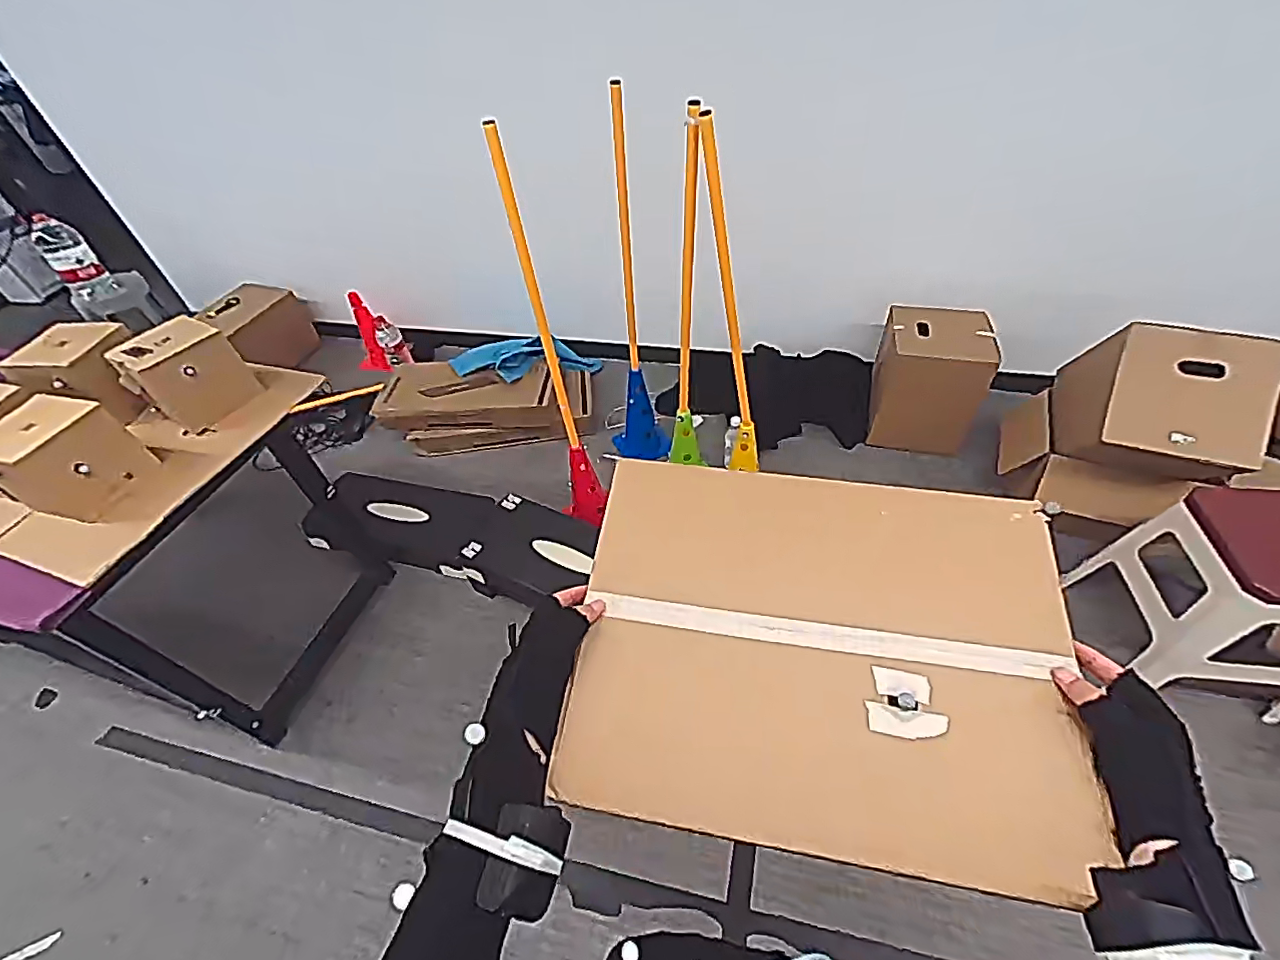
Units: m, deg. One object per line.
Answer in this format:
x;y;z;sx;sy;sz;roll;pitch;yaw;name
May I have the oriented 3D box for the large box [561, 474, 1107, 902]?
0.161;0.218;0.600;0.408;0.320;0.320;7;61;8;large box
